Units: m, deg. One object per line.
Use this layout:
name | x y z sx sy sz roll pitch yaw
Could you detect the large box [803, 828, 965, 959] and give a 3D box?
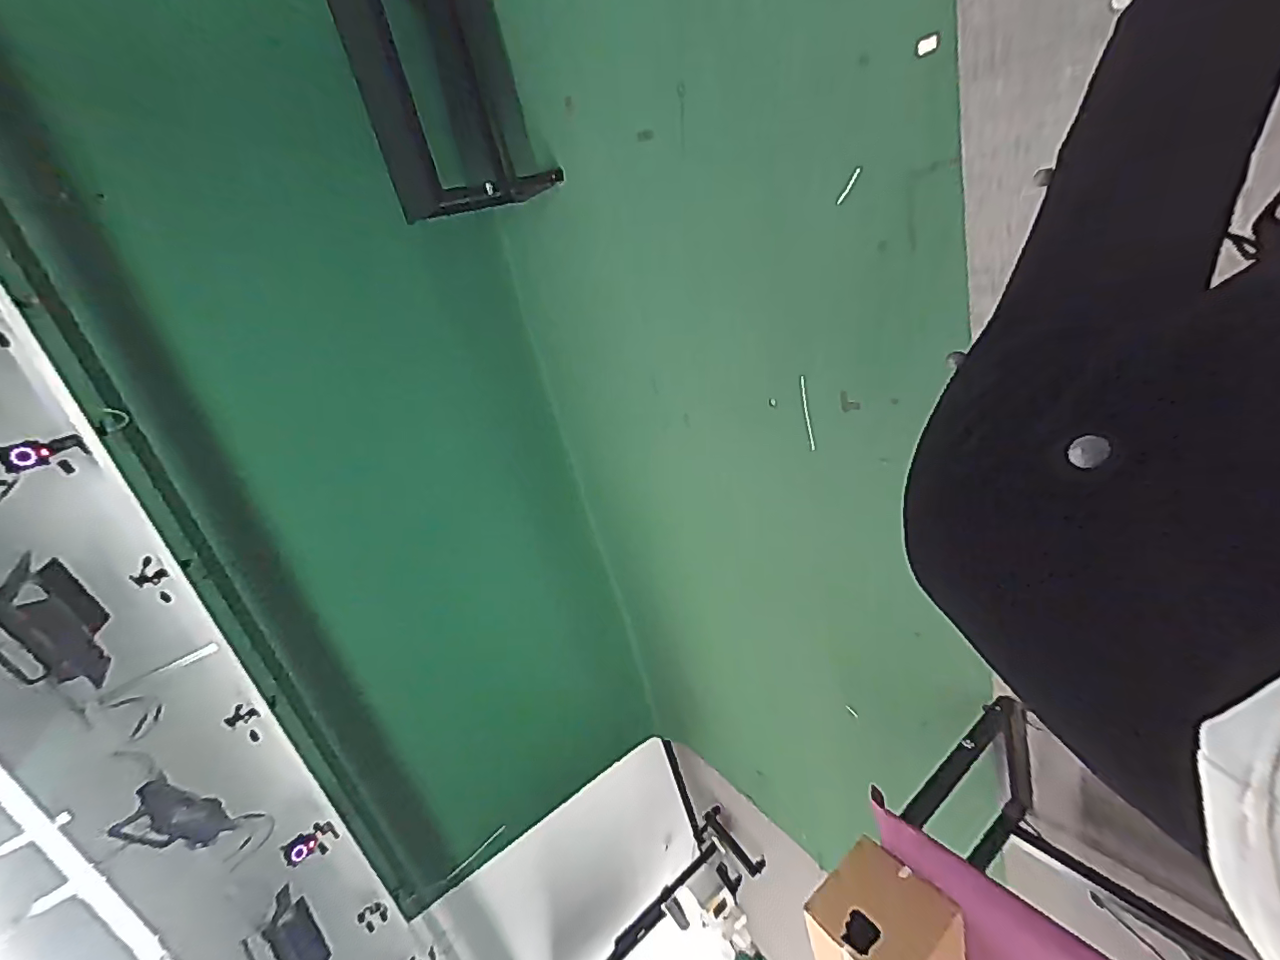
large box | 0.741 1.381 1.624 0.320 0.320 0.408 14 125 54
